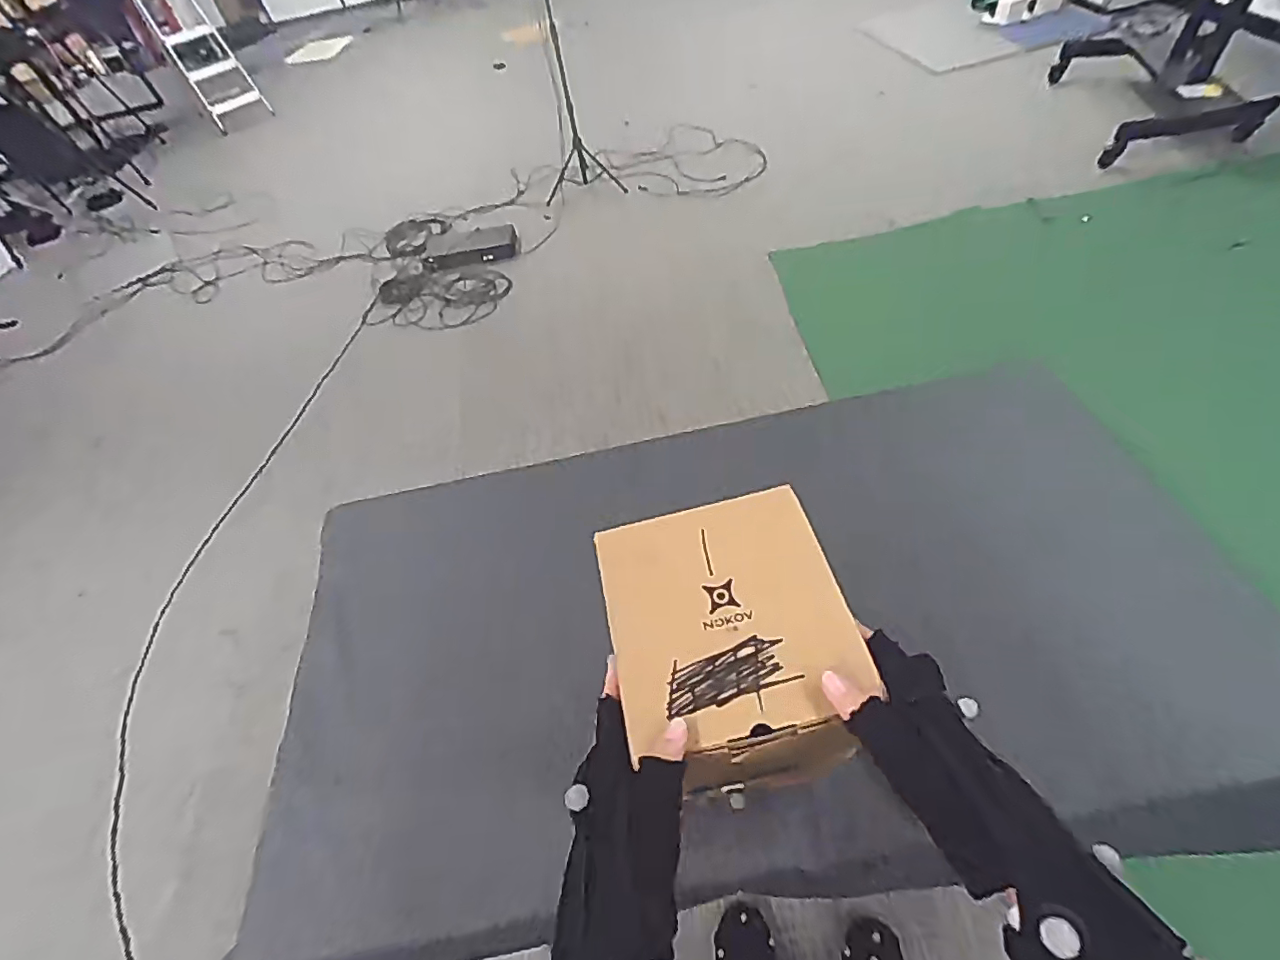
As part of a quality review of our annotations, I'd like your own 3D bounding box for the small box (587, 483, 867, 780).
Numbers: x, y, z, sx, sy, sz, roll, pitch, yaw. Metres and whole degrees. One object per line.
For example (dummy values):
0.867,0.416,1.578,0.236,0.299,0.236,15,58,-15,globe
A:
0.063,0.134,0.451,0.168,0.176,0.179,-14,52,0,small box
